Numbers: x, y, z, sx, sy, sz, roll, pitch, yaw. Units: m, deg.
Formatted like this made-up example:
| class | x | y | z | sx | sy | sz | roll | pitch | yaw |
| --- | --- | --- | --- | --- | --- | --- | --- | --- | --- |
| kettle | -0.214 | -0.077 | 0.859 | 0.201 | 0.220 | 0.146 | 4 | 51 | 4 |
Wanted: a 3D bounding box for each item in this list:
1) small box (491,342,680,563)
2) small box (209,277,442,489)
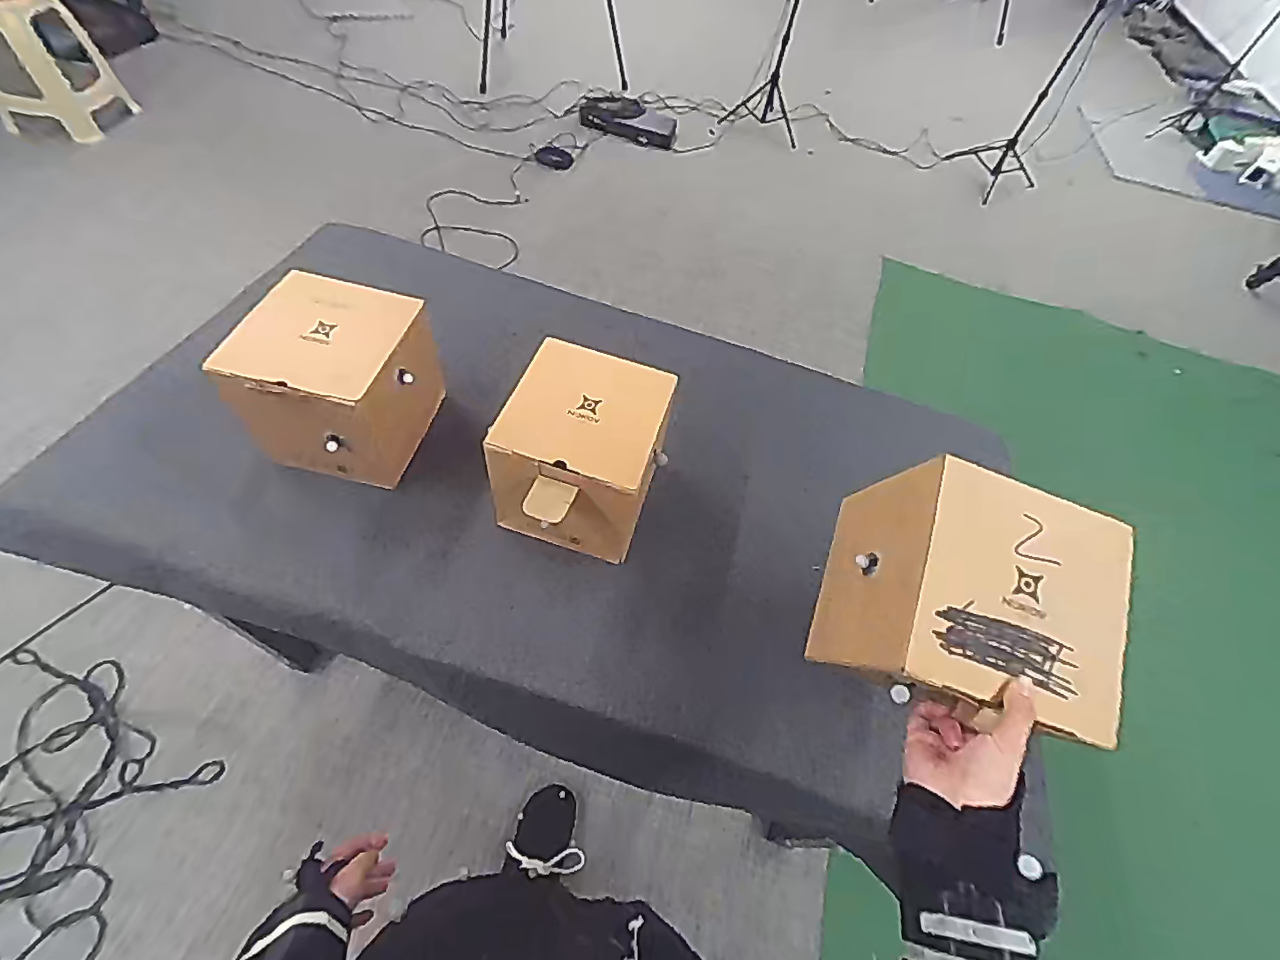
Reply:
| class | x | y | z | sx | sy | sz | roll | pitch | yaw |
| --- | --- | --- | --- | --- | --- | --- | --- | --- | --- |
| small box | -0.064 | -0.029 | 0.655 | 0.168 | 0.176 | 0.179 | 18 | 55 | 3 |
| small box | -0.361 | -0.113 | 0.667 | 0.168 | 0.176 | 0.179 | 13 | 54 | -1 |
